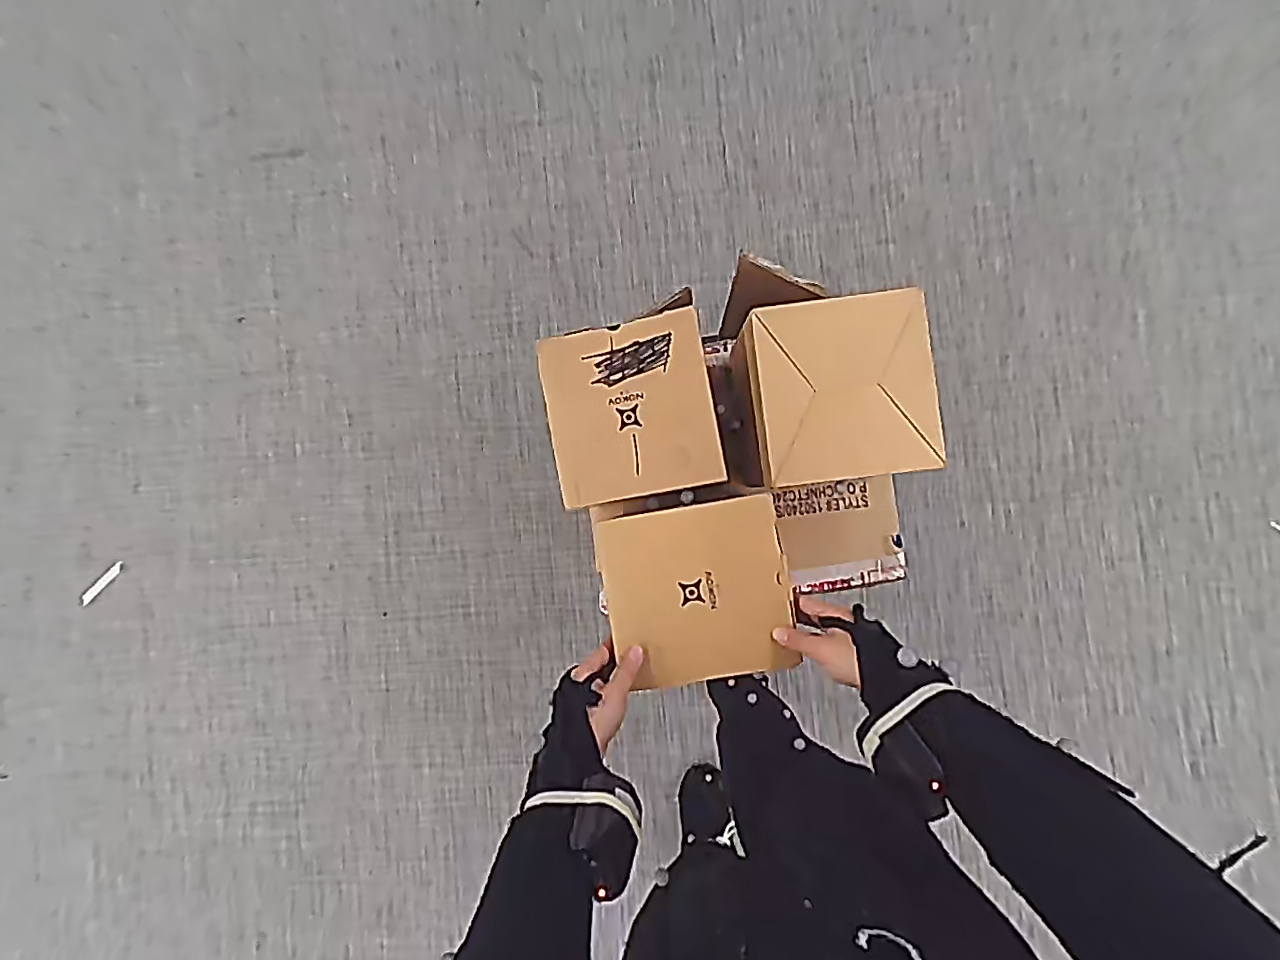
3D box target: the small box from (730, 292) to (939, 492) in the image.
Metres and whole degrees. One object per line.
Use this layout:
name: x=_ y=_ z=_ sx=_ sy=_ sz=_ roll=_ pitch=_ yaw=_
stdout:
small box: x=0.201 y=-0.083 z=0.596 sx=0.168 sy=0.176 sz=0.179 roll=-7 pitch=89 yaw=1

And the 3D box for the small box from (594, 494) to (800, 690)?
small box: x=0.057 y=0.113 z=0.593 sx=0.179 sy=0.176 sz=0.168 roll=-10 pitch=86 yaw=2
